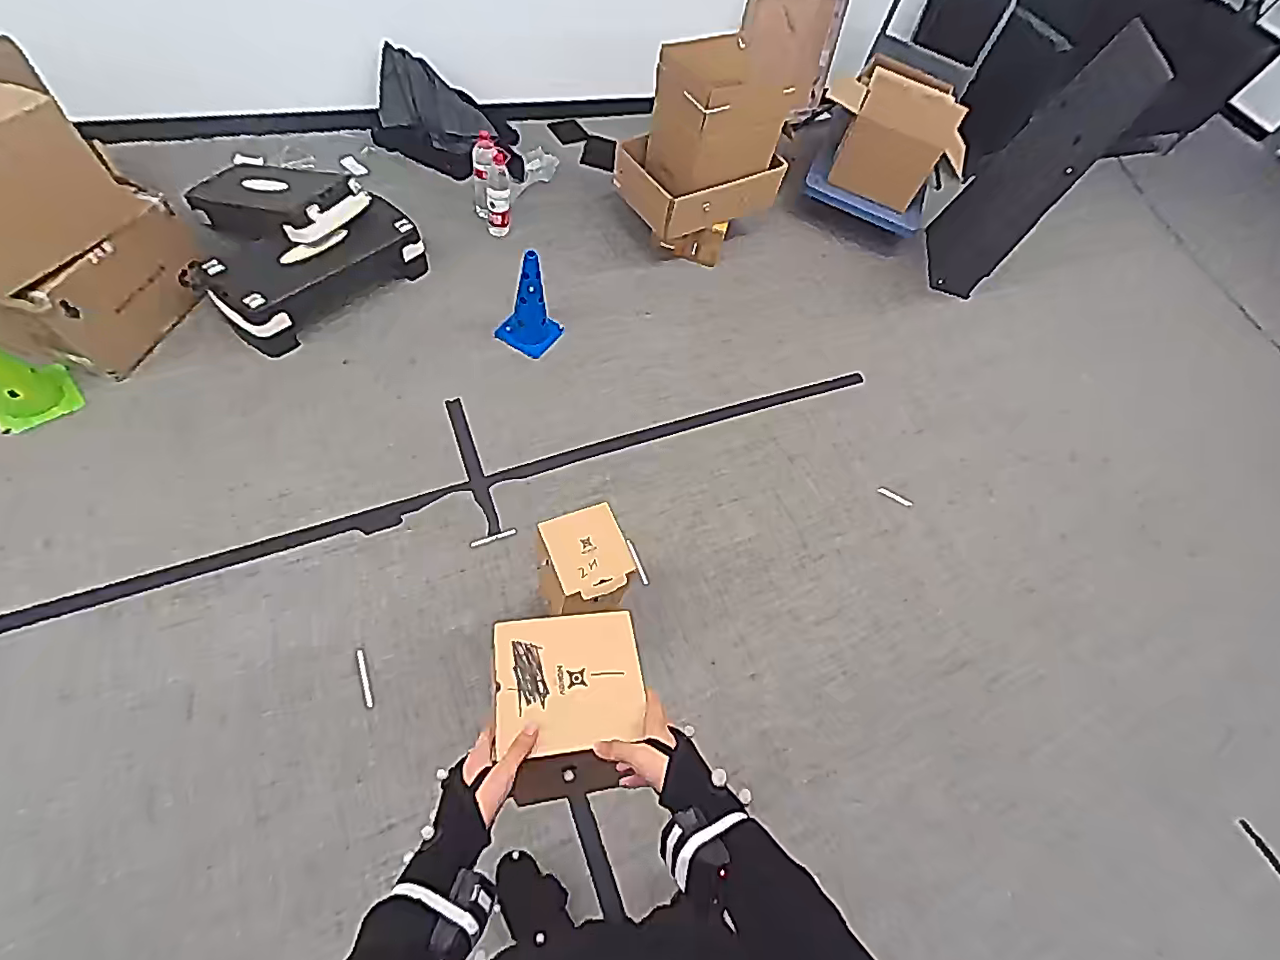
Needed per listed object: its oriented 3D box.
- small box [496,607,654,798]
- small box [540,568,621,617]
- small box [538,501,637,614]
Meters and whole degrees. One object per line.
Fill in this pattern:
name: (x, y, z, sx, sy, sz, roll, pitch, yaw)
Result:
small box: (-0.083, 0.289, 0.698, 0.179, 0.176, 0.168, -6, 47, -9)
small box: (-0.170, 0.321, 1.512, 0.168, 0.176, 0.179, -21, 67, -21)
small box: (-0.127, 0.176, 1.217, 0.168, 0.176, 0.179, -17, 67, -21)
